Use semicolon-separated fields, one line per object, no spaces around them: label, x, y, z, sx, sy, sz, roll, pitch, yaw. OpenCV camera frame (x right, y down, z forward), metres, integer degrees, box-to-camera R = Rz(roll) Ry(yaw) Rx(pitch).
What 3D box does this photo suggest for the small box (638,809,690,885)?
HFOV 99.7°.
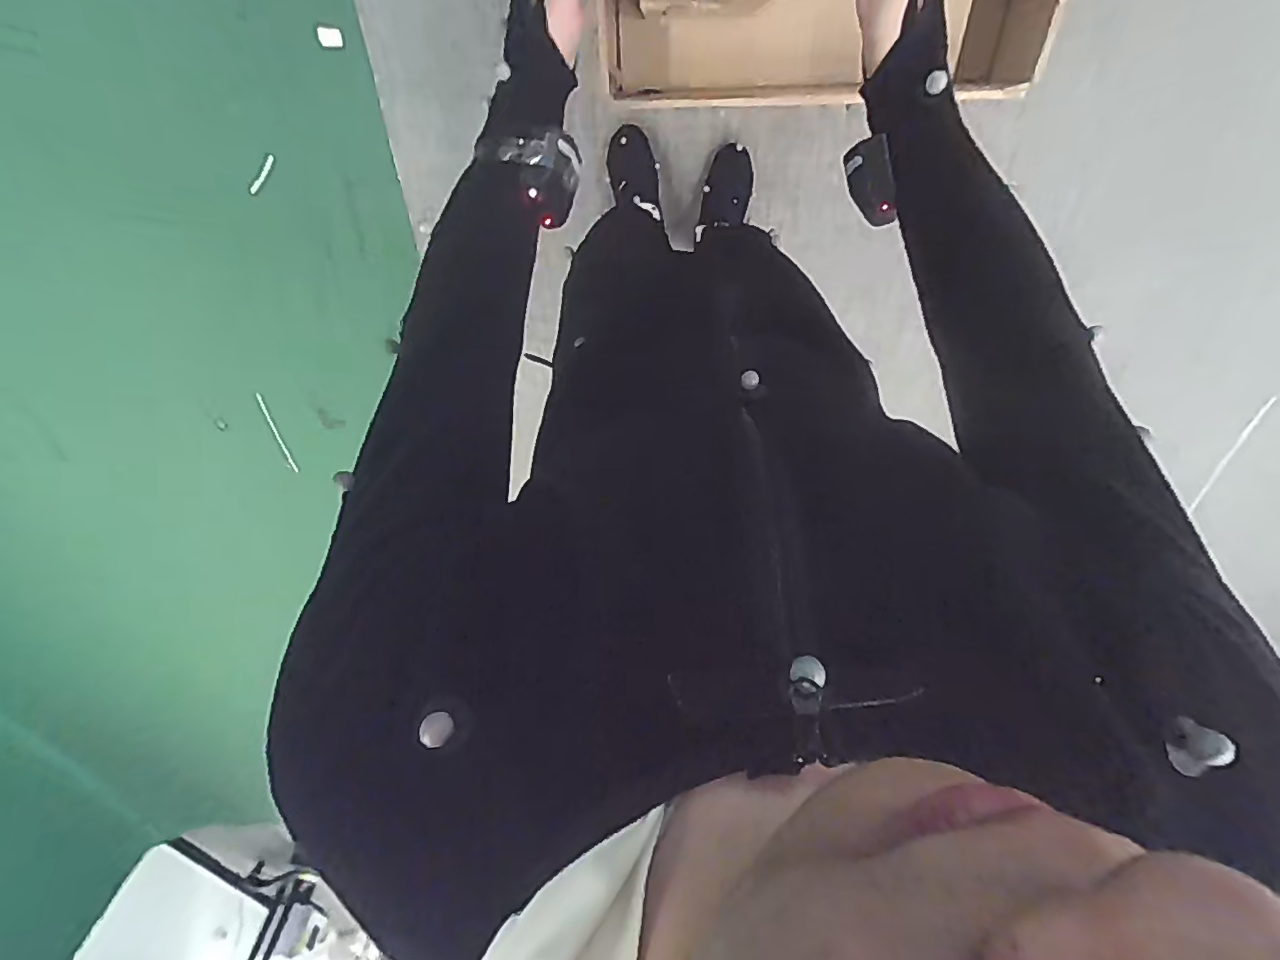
small box;0.082;1.234;1.816;0.168;0.176;0.179;-3;126;3
